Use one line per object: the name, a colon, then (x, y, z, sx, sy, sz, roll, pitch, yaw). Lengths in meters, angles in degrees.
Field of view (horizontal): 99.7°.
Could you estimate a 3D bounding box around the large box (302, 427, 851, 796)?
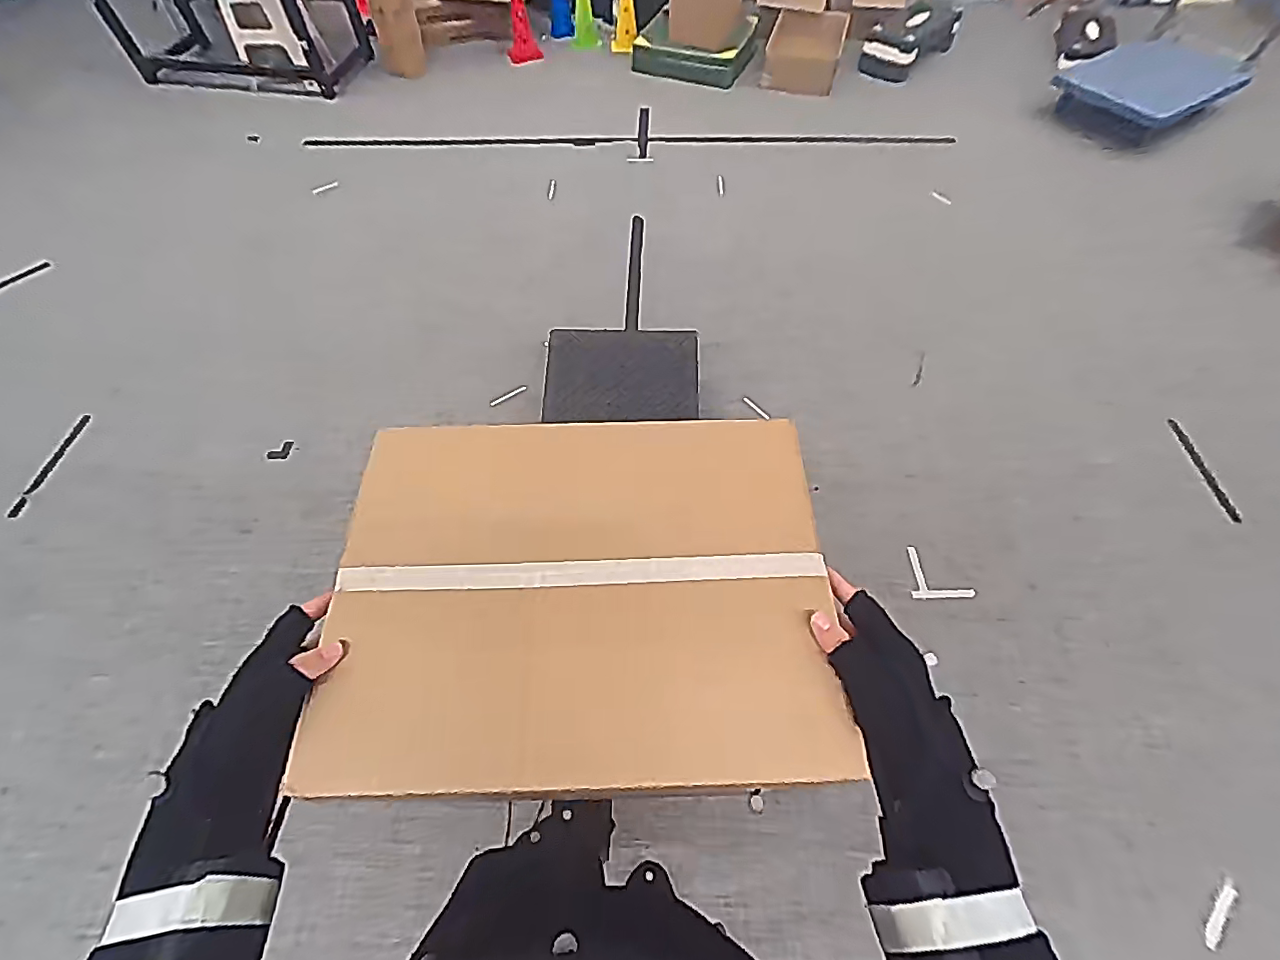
large box: (-0.048, 0.158, 0.590, 0.408, 0.320, 0.320, -1, 59, -1)
